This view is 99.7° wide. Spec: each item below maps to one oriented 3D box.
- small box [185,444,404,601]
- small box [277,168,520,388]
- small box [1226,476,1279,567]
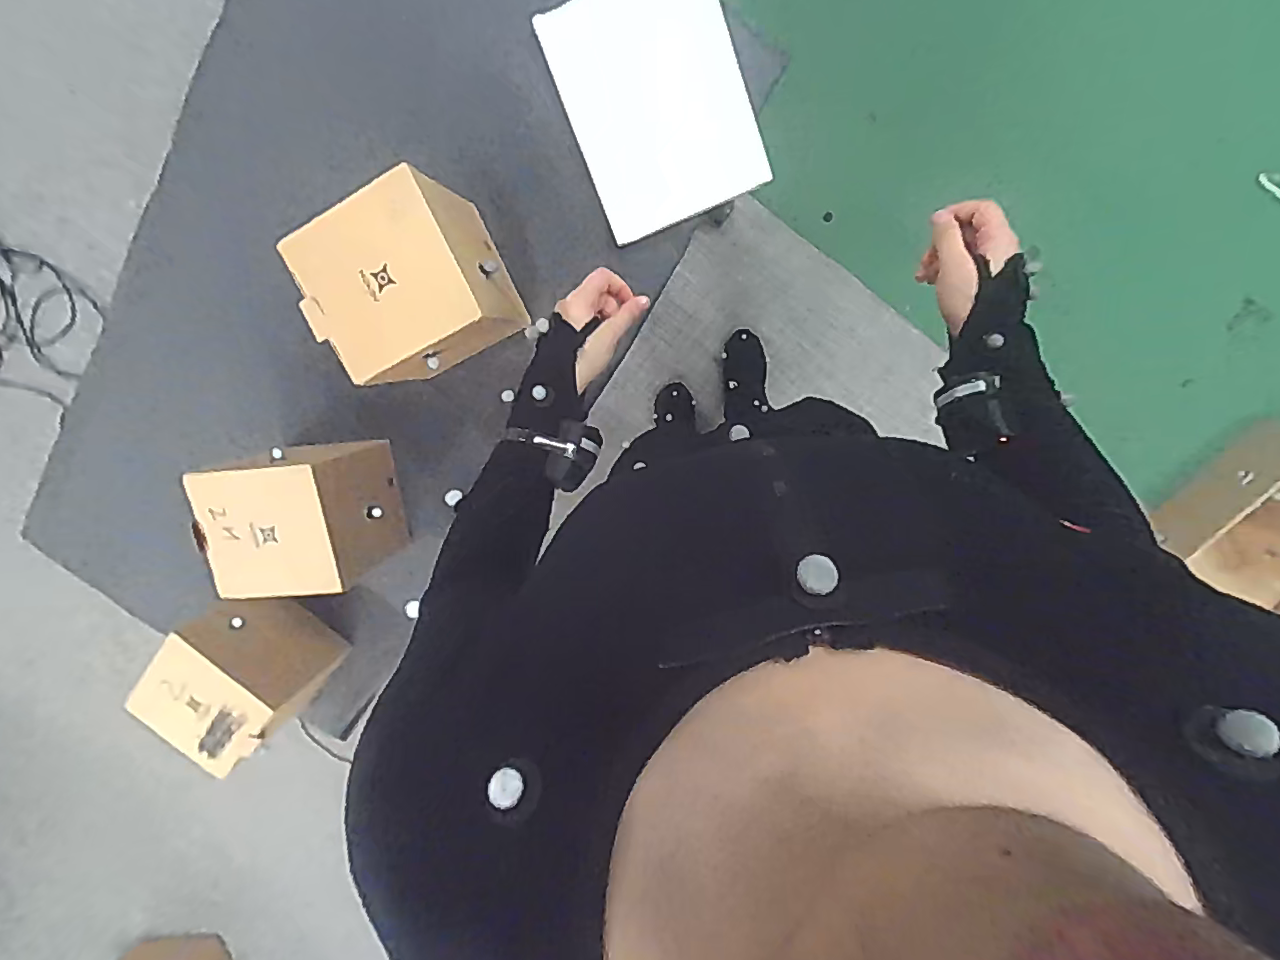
[{"bbox_3d":[-0.445,0.049,0.734,0.179,0.176,0.168,-4,104,8],"label":"small box"},{"bbox_3d":[-0.262,-0.226,0.640,0.179,0.176,0.168,-24,101,13],"label":"small box"},{"bbox_3d":[1.536,0.106,1.241,0.168,0.176,0.179,-37,99,15],"label":"small box"}]
